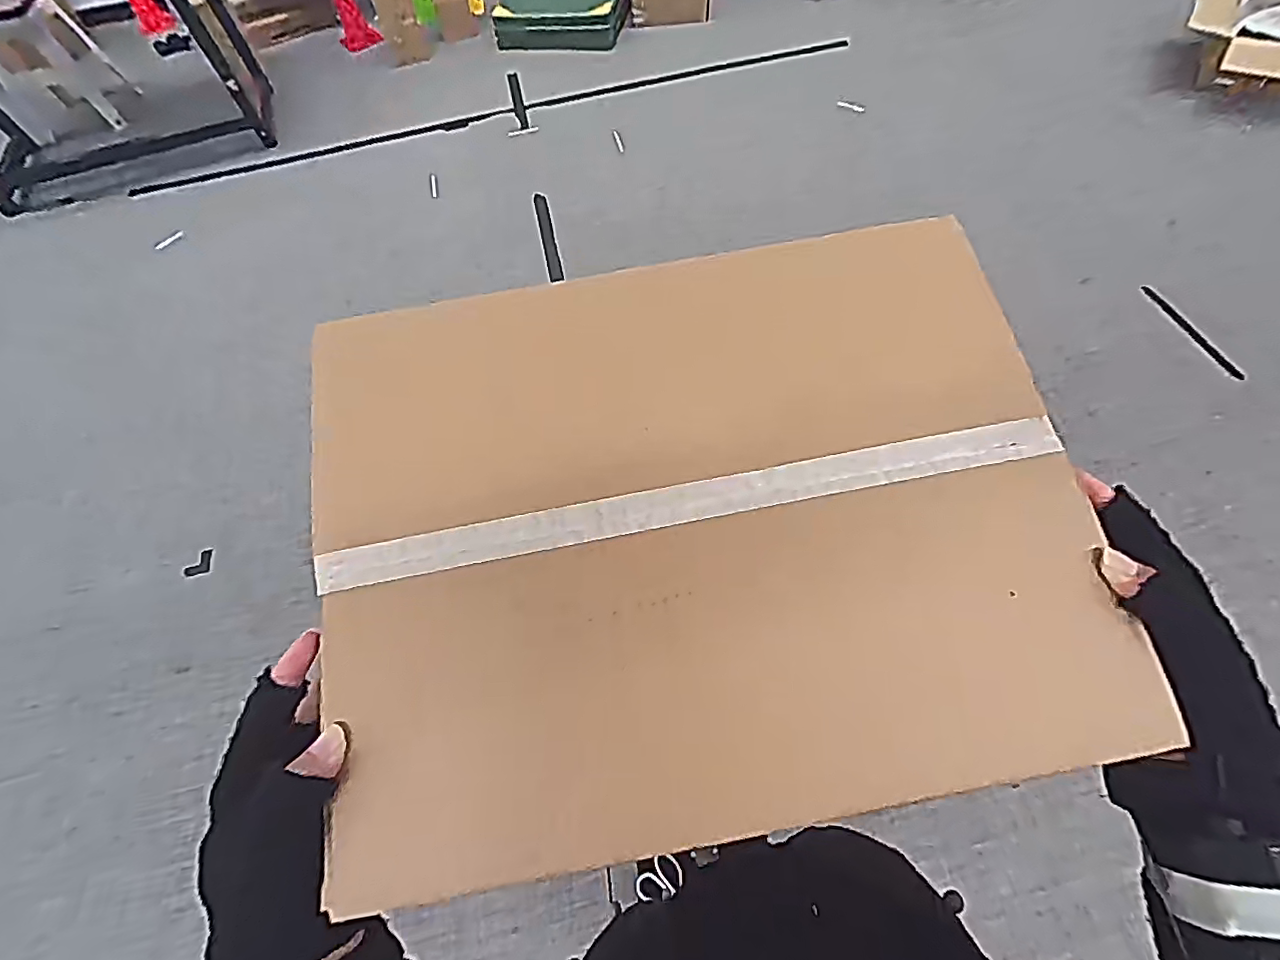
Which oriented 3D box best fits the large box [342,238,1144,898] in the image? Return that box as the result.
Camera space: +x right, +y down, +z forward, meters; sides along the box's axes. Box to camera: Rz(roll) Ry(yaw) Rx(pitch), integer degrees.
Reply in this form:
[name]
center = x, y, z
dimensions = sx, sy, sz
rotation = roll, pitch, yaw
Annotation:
[large box]
center = 0.034, 0.064, 0.449
dimensions = 0.408, 0.320, 0.320
rotation = -11, 74, -2
